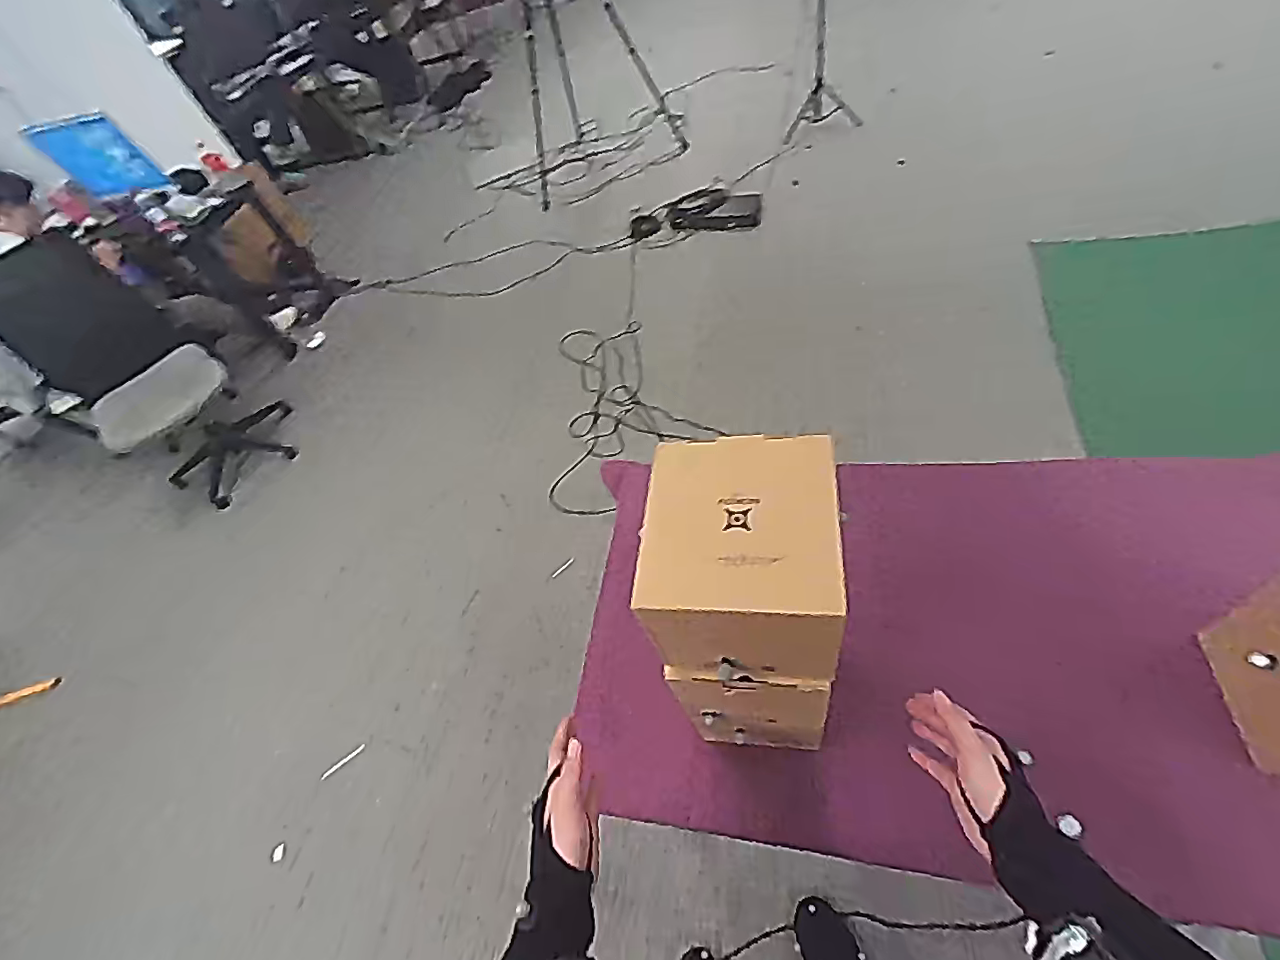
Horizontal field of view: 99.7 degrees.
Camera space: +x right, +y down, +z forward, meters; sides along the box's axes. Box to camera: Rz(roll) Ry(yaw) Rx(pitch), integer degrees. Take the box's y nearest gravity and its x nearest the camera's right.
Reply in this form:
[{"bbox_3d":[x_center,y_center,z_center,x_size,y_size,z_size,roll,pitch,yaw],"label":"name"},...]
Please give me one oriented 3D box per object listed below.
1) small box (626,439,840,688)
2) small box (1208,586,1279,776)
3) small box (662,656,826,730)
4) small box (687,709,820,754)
[{"bbox_3d":[0.097,0.081,0.520,0.168,0.176,0.179,-1,54,16],"label":"small box"},{"bbox_3d":[0.815,0.237,0.610,0.168,0.176,0.179,-1,52,17],"label":"small box"},{"bbox_3d":[0.130,0.183,0.643,0.168,0.176,0.179,-2,52,15],"label":"small box"},{"bbox_3d":[0.167,0.279,0.772,0.168,0.176,0.179,-2,53,15],"label":"small box"}]
